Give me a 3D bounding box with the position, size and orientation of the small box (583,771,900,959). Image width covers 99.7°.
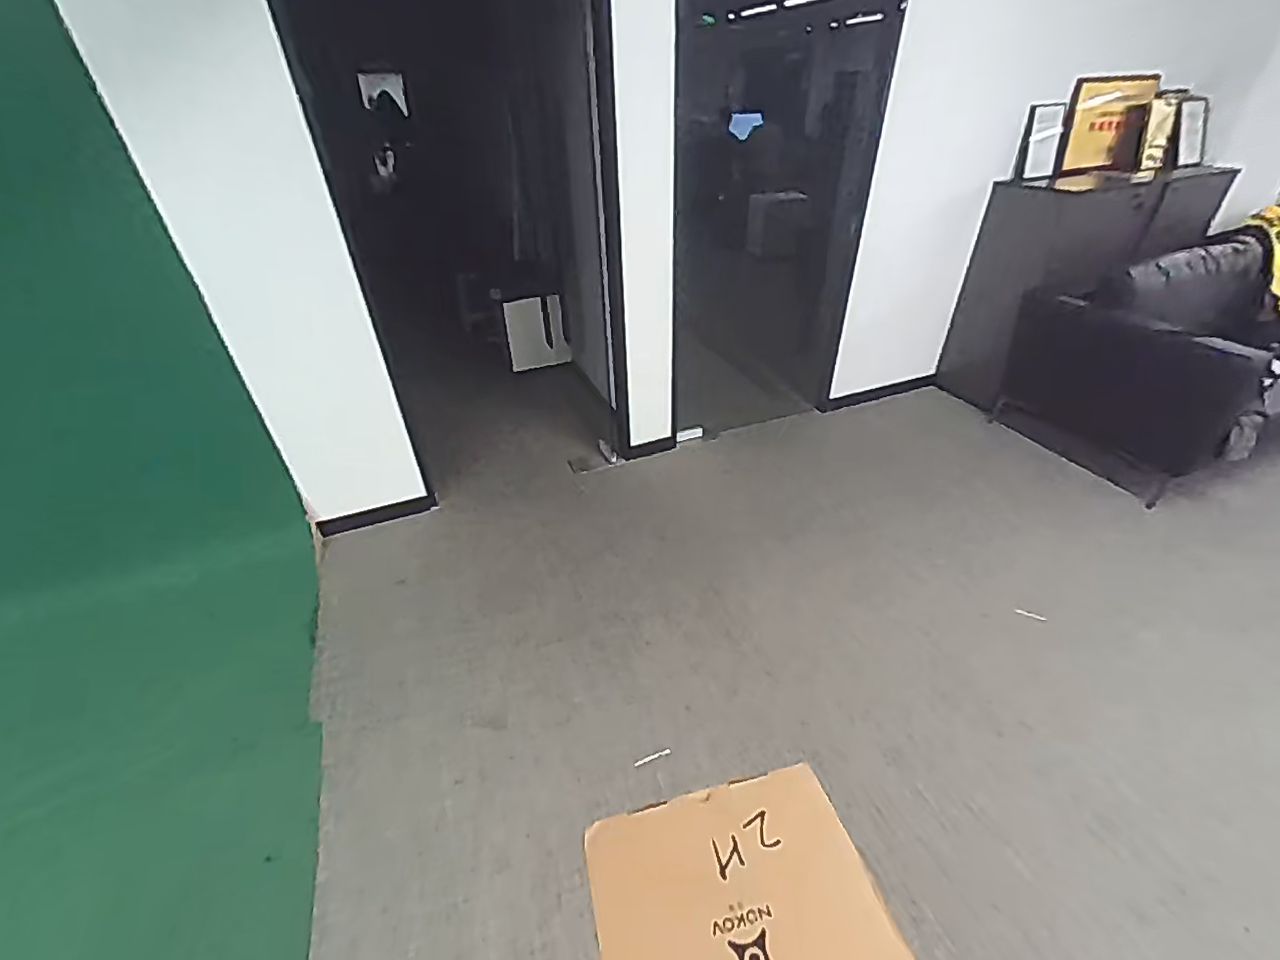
[{"bbox_3d":[0.062,0.333,0.346,0.168,0.176,0.179,-8,31,-11],"label":"small box"}]
